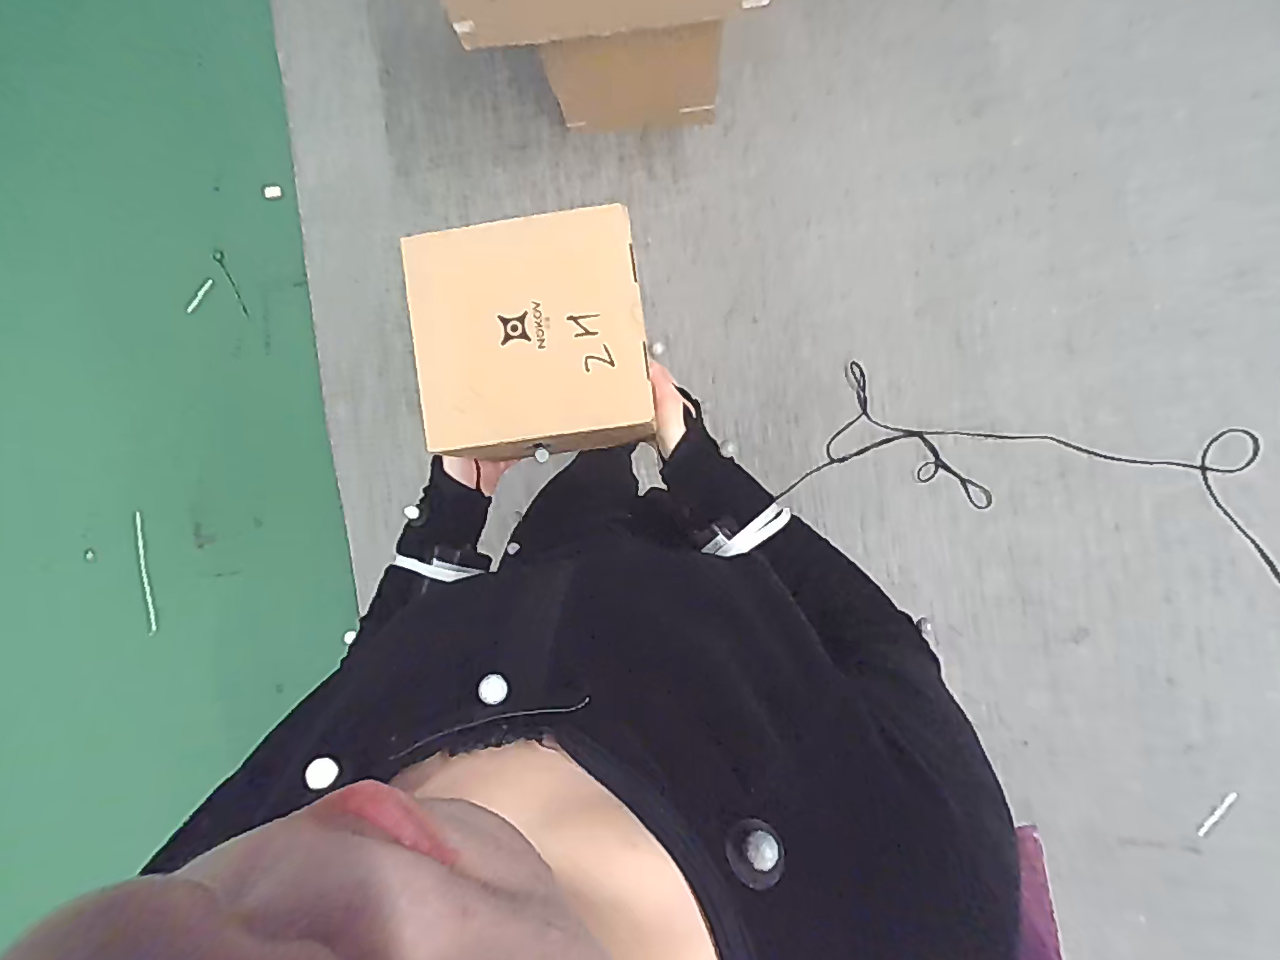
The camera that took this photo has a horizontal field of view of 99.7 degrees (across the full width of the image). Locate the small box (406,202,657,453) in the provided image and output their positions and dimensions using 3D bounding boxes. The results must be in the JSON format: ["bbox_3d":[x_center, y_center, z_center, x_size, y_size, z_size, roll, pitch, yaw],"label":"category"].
[{"bbox_3d":[-0.080,-0.117,0.487,0.179,0.176,0.168,-7,90,2],"label":"small box"}]
